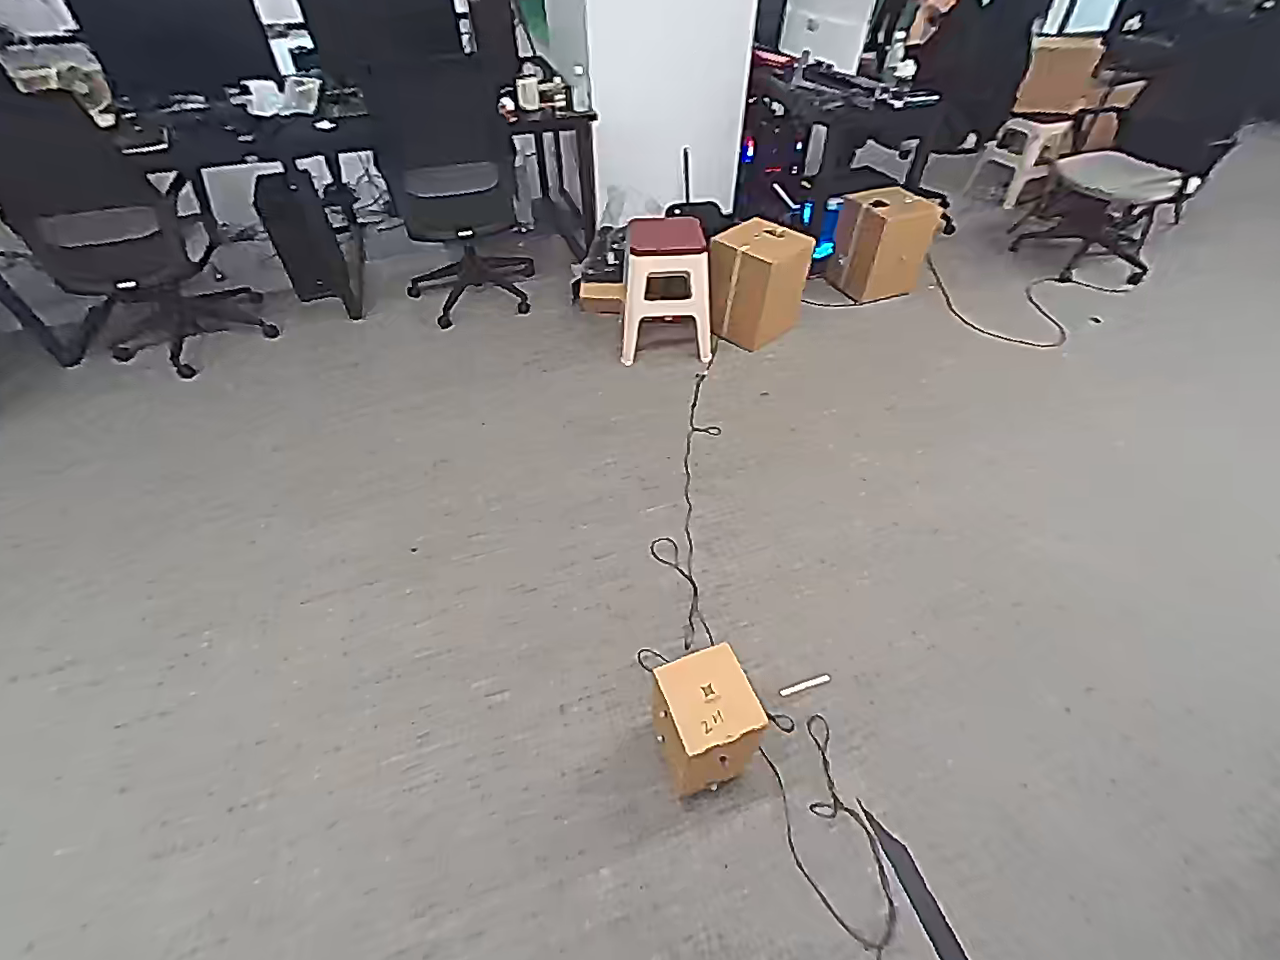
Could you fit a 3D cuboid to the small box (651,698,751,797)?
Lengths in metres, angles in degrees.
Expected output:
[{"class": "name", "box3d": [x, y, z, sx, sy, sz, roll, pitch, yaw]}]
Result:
[{"class": "small box", "box3d": [0.125, 0.576, 1.212, 0.168, 0.176, 0.179, -15, 50, -13]}]

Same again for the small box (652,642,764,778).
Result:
[{"class": "small box", "box3d": [0.126, 0.464, 1.090, 0.168, 0.176, 0.179, -16, 50, -13]}]
